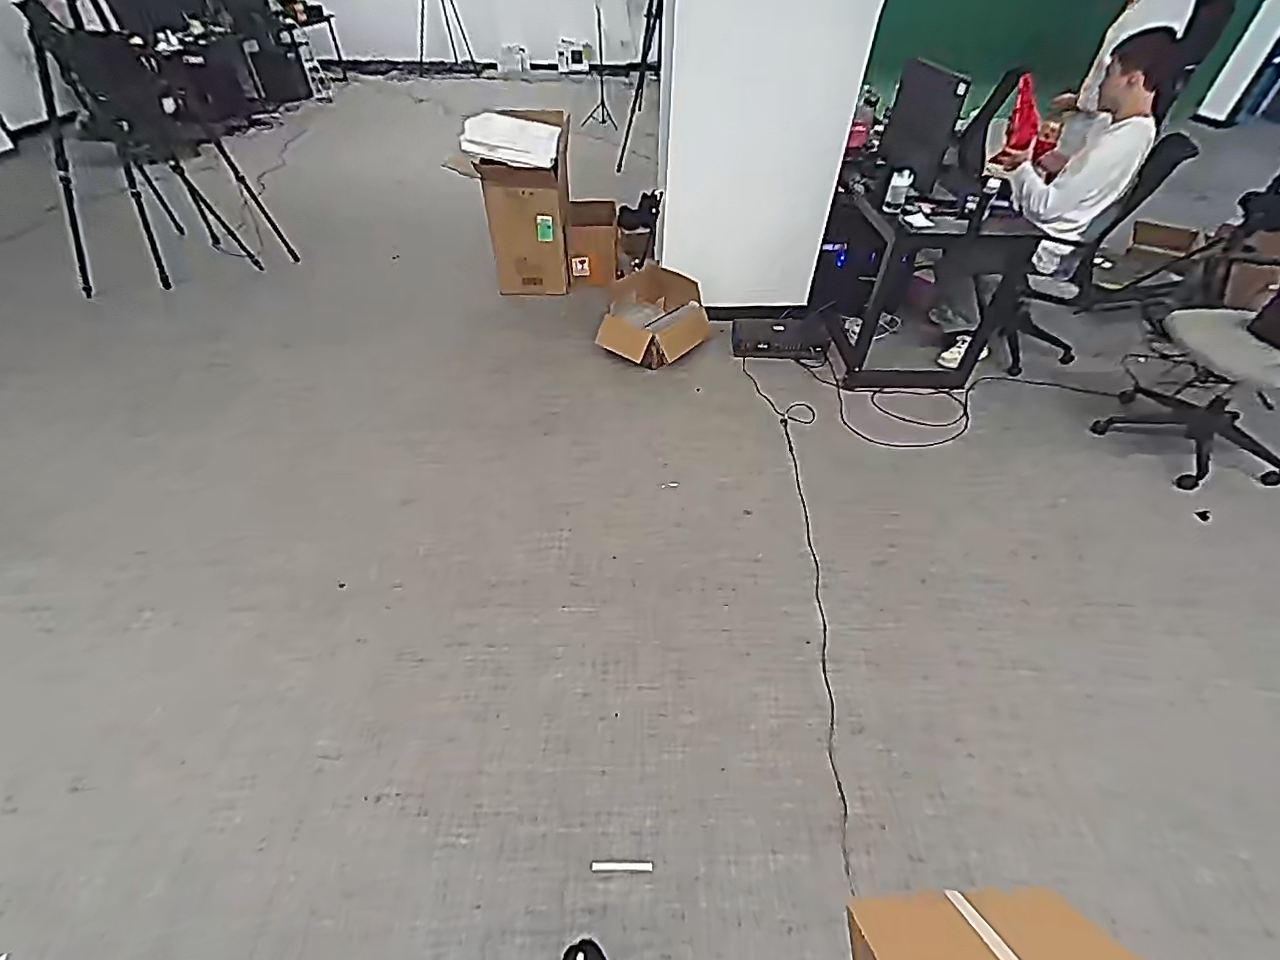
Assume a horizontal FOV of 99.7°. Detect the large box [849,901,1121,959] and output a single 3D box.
[{"bbox_3d":[0.460,0.749,0.586,0.320,0.408,0.320,-3,81,2],"label":"large box"}]
